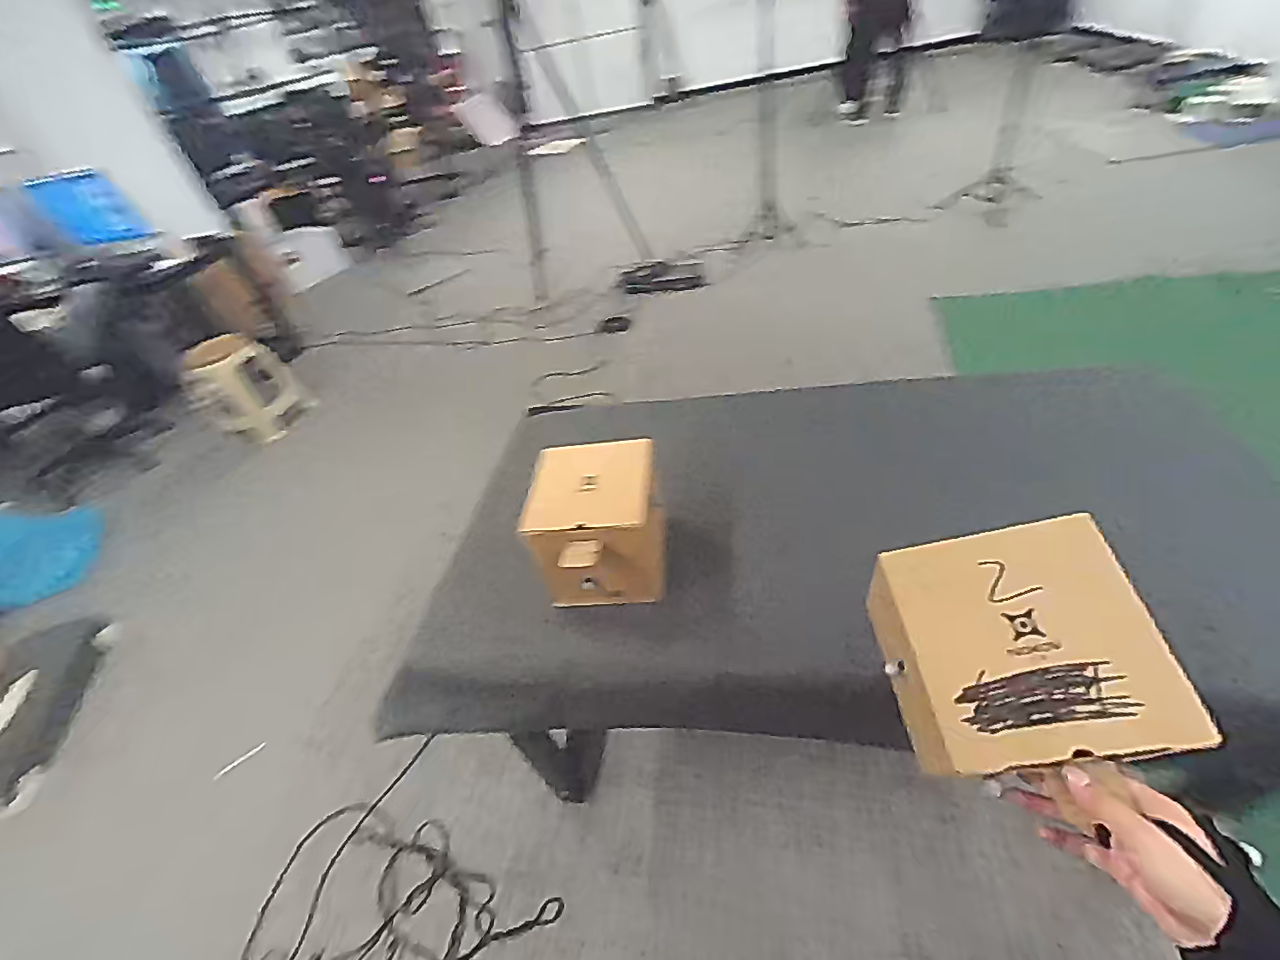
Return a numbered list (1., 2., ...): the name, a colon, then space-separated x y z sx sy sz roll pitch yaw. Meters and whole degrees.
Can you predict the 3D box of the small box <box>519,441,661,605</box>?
1. small box: -0.062 0.064 0.805 0.168 0.176 0.179 -5 42 9
